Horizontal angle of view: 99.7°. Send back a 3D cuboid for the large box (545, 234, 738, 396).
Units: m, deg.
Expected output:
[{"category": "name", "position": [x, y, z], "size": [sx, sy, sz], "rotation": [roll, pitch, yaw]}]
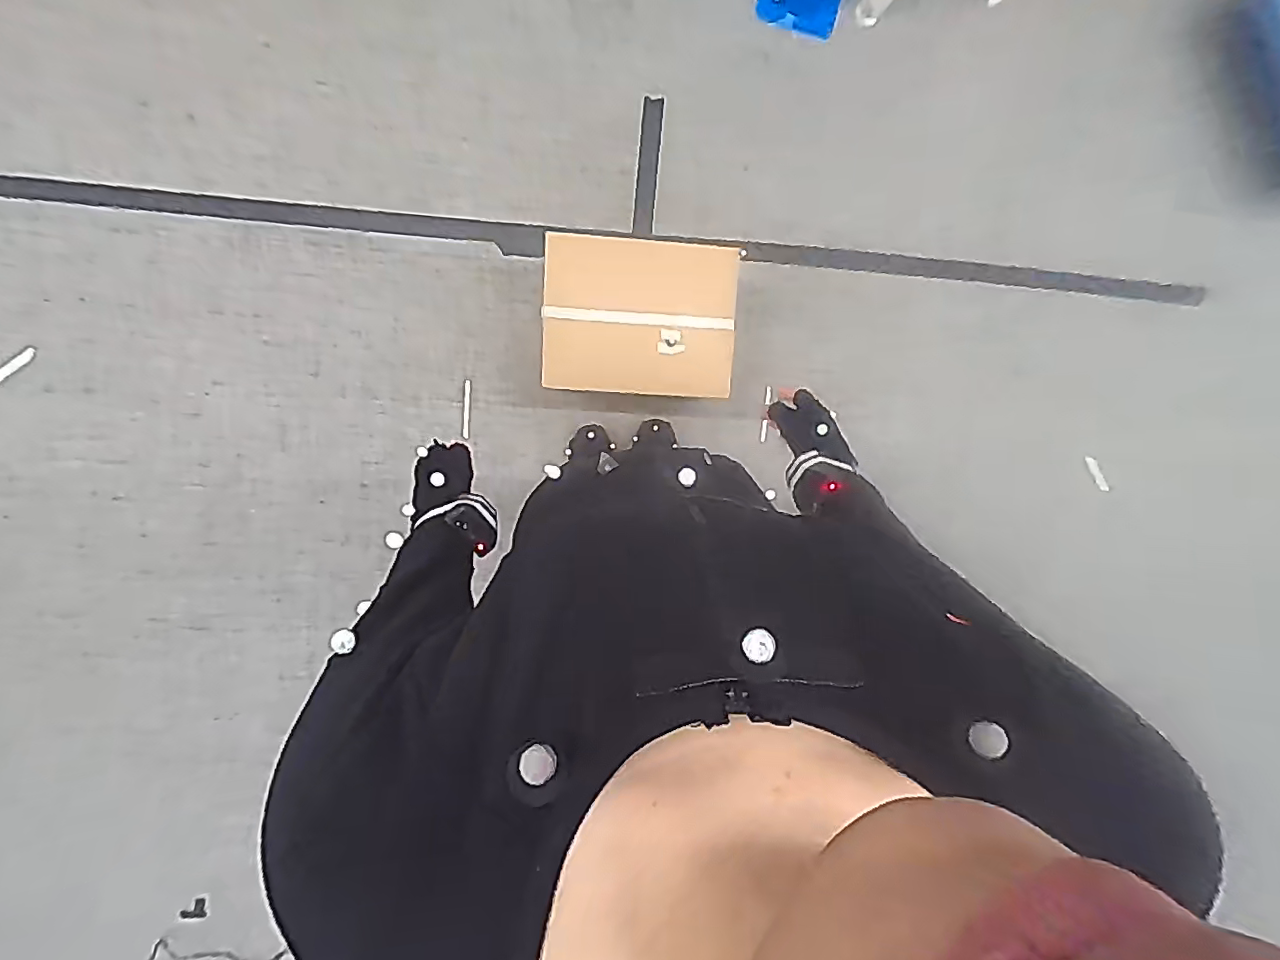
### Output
[{"category": "large box", "position": [-0.013, -0.363, 1.277], "size": [0.408, 0.320, 0.320], "rotation": [2, 99, -6]}]
